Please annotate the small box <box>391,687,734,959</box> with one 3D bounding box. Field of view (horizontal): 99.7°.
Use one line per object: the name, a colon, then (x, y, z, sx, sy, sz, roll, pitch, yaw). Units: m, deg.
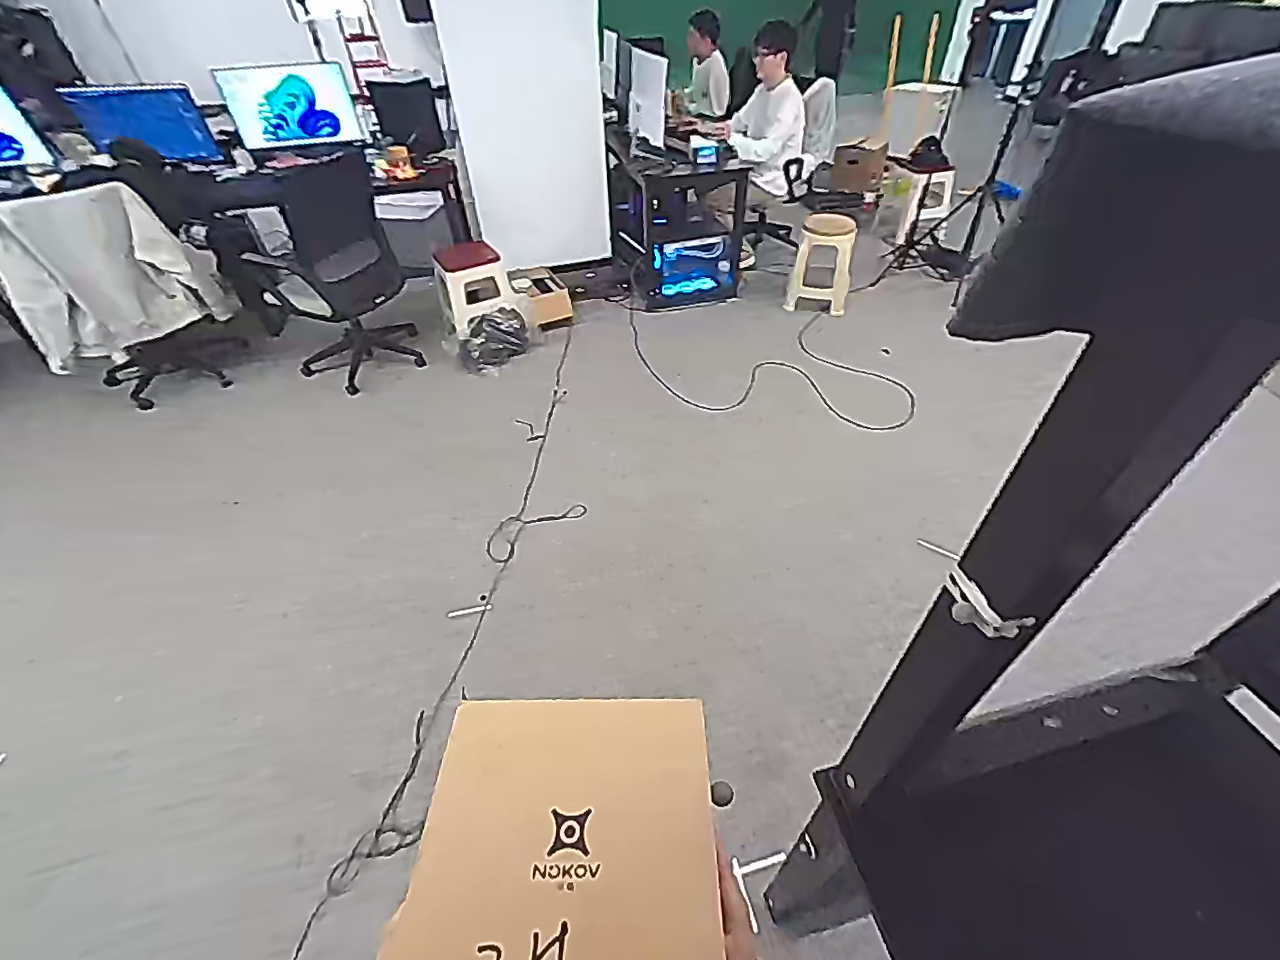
small box: (-0.035, 0.257, 0.348, 0.168, 0.176, 0.179, -1, 40, 1)
